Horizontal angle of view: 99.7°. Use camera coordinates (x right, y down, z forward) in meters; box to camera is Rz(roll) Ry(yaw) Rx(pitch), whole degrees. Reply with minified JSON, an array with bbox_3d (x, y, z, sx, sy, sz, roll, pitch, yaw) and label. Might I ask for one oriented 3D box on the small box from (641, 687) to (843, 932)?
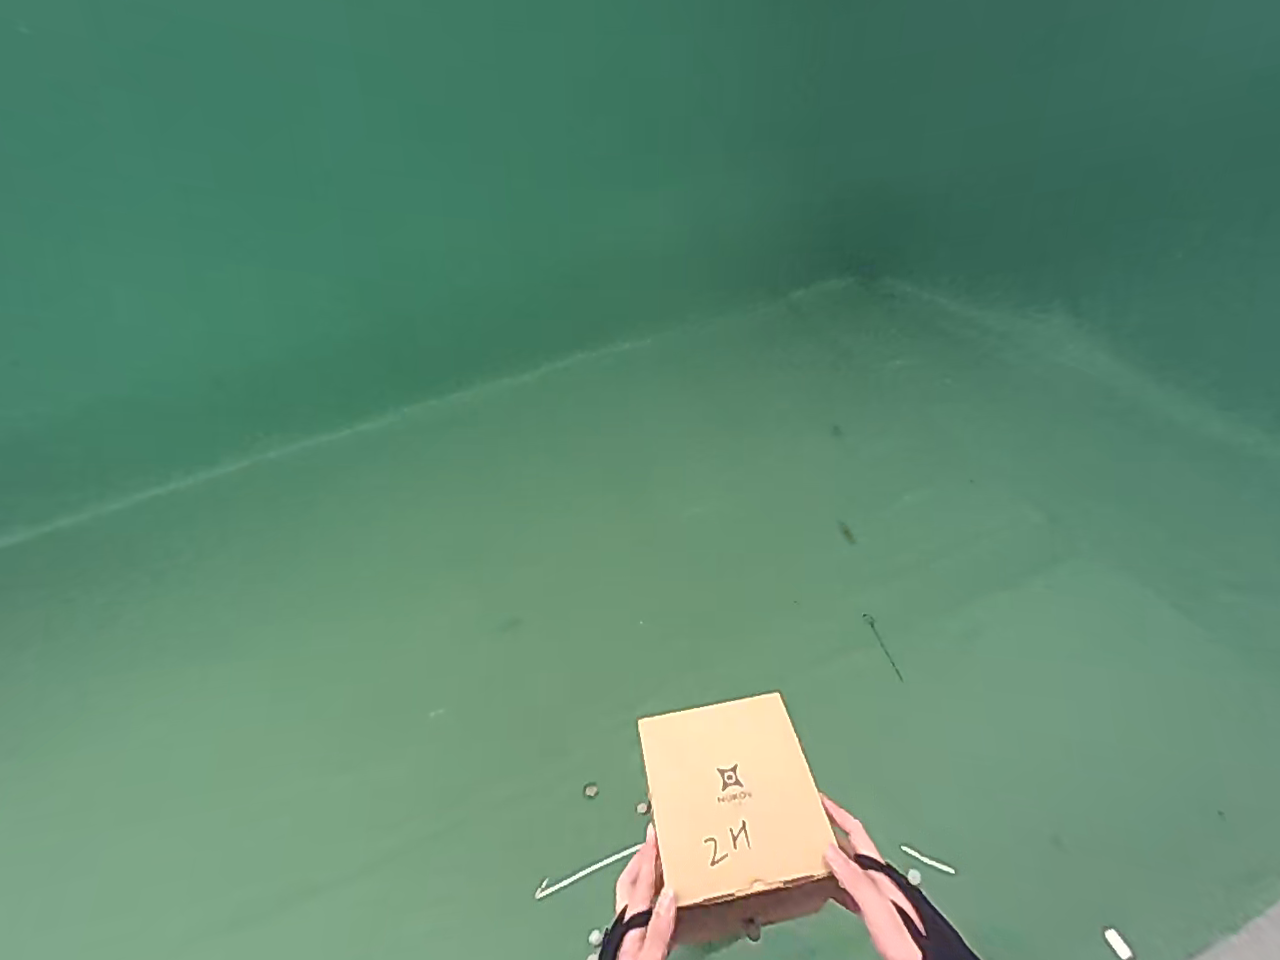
[{"bbox_3d":[0.095,0.360,0.595,0.168,0.176,0.179,-8,43,-4],"label":"small box"}]
